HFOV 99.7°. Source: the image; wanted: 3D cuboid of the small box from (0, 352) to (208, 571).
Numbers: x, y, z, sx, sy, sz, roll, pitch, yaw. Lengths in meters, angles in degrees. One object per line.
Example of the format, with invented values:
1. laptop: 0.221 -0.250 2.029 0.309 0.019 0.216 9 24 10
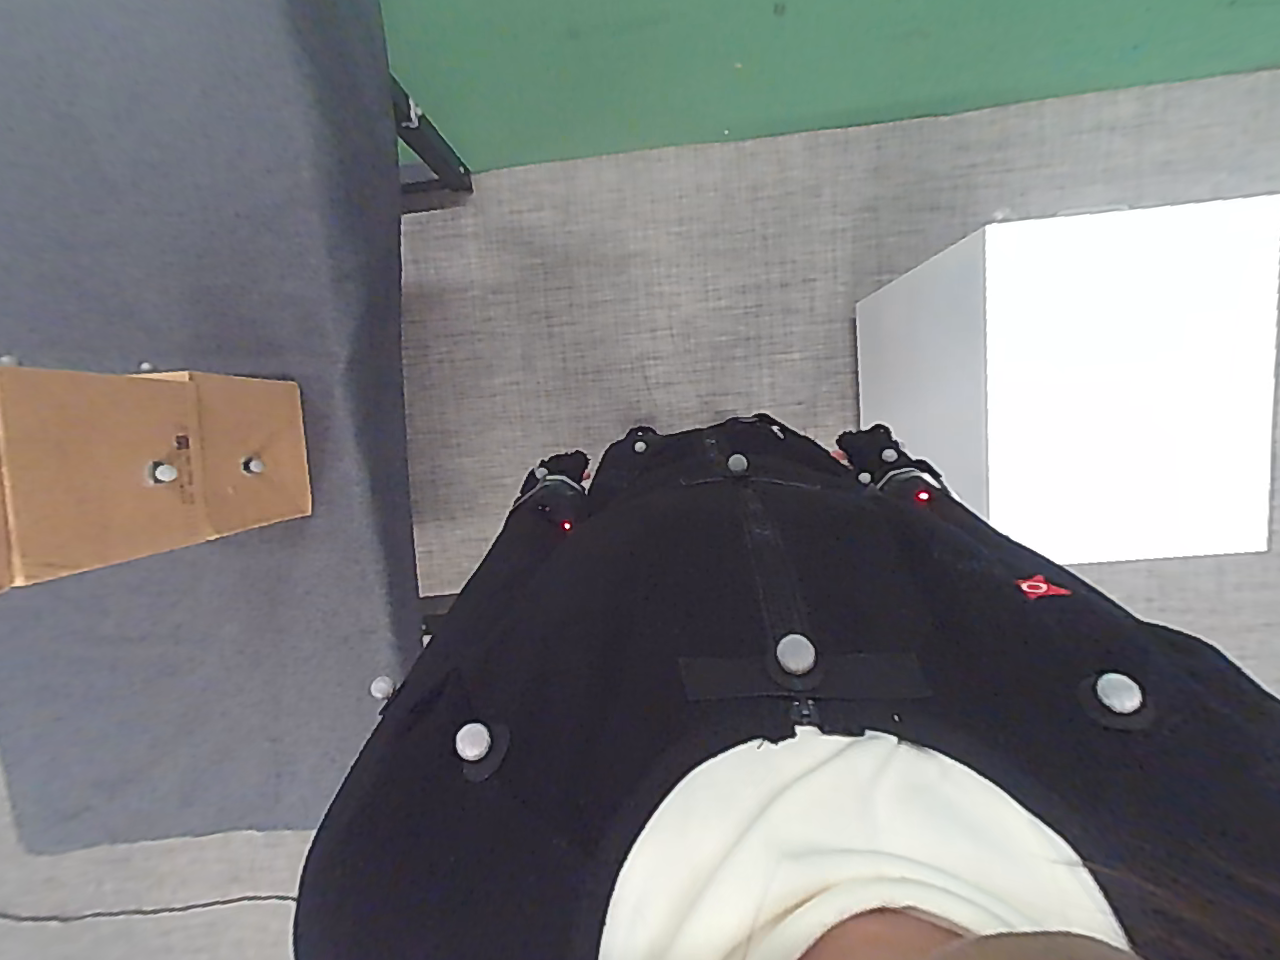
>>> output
1. small box: -0.547 -0.019 0.487 0.179 0.176 0.168 -2 96 6

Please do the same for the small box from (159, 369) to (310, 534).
1. small box: -0.530 -0.038 0.649 0.168 0.176 0.179 -2 97 4
